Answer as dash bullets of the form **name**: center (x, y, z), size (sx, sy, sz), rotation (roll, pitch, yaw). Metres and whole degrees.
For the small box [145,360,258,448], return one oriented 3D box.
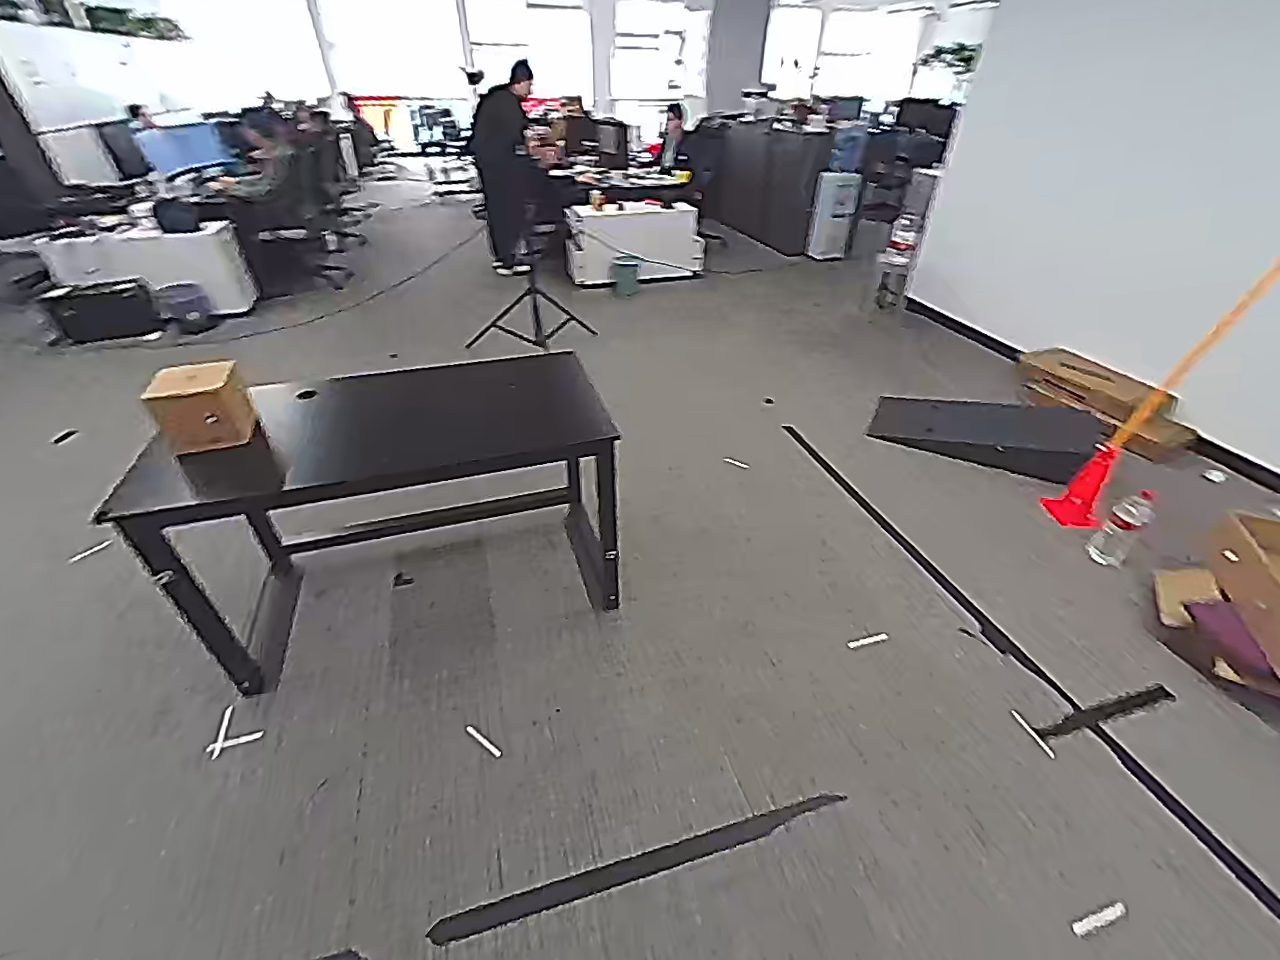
- **small box**: center (-1.135, -0.194, 1.417), size (0.168, 0.176, 0.179), rotation (-11, 38, -19)
